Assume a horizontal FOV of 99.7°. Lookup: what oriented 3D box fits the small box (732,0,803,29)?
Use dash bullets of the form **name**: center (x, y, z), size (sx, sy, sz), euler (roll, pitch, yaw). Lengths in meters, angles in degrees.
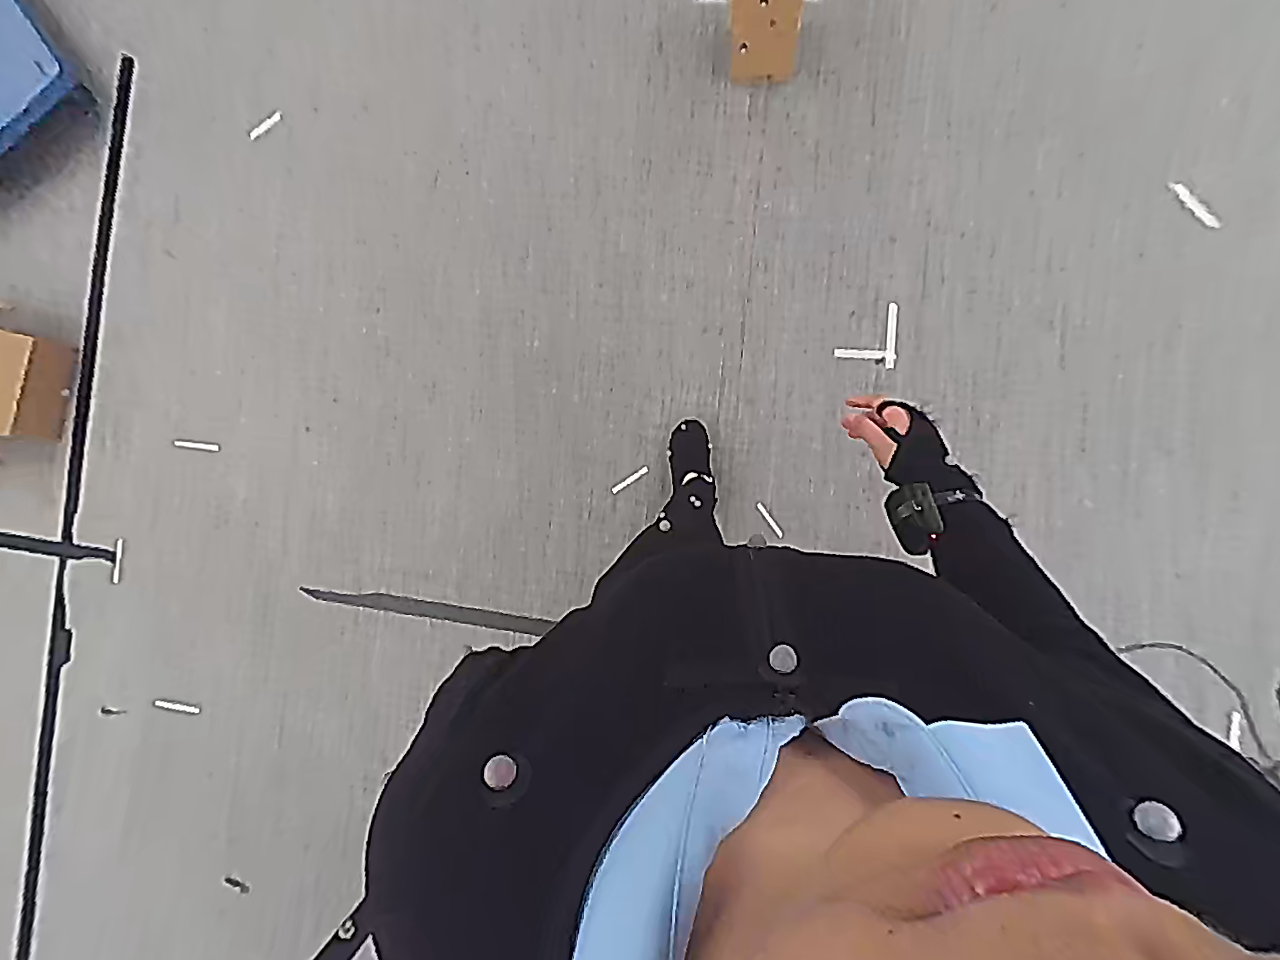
- **small box**: center (0.309, -1.196, 1.251), size (0.168, 0.176, 0.179), euler (10, 89, 7)
